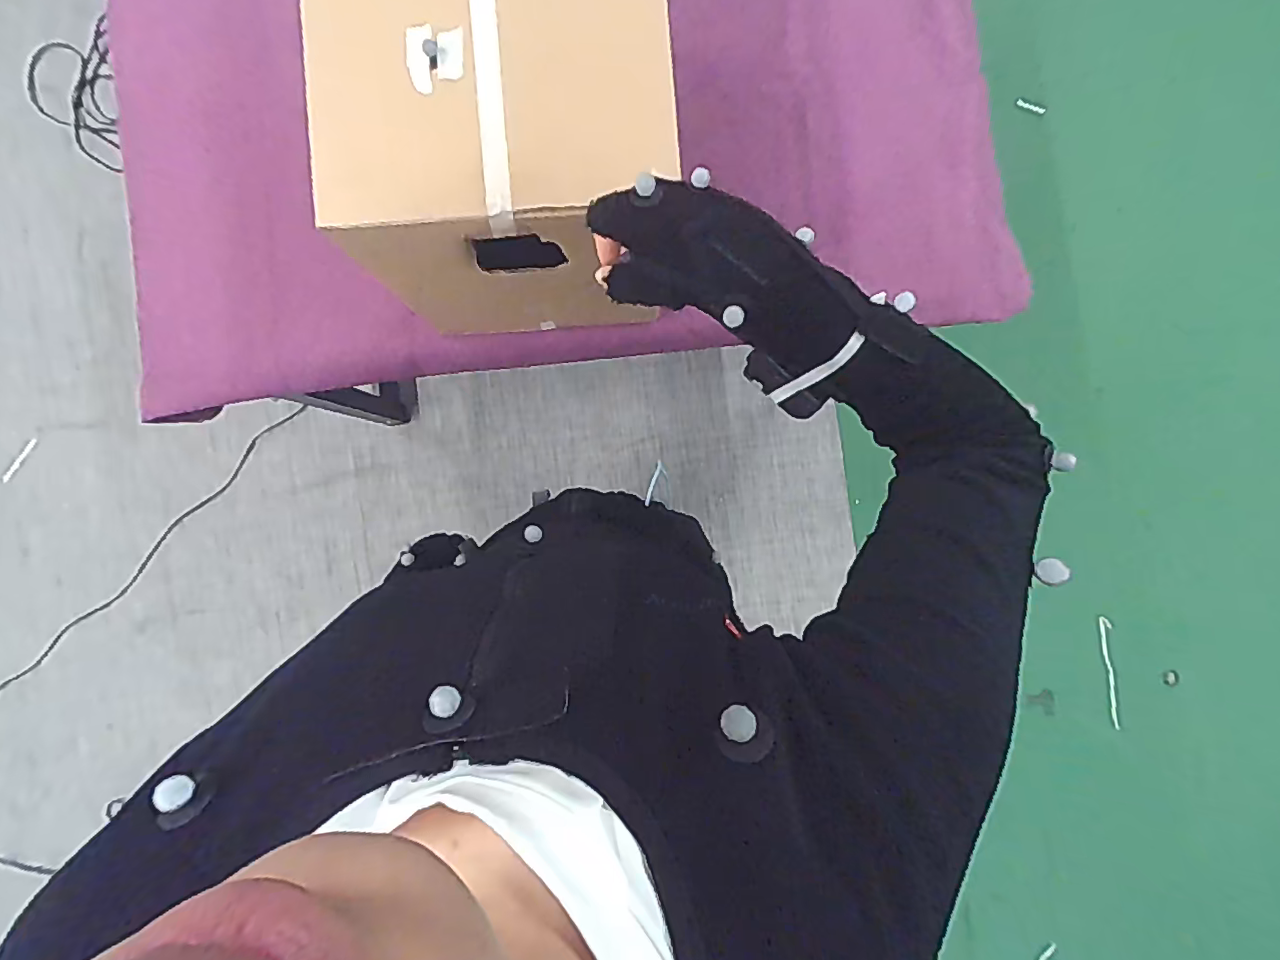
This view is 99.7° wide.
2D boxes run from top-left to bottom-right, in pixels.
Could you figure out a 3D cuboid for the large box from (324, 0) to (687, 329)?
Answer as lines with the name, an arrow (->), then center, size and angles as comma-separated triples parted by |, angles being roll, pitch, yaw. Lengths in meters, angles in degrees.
large box -> -0.134, -0.423, 0.630 | 0.320, 0.320, 0.408 | -4, 89, -2
